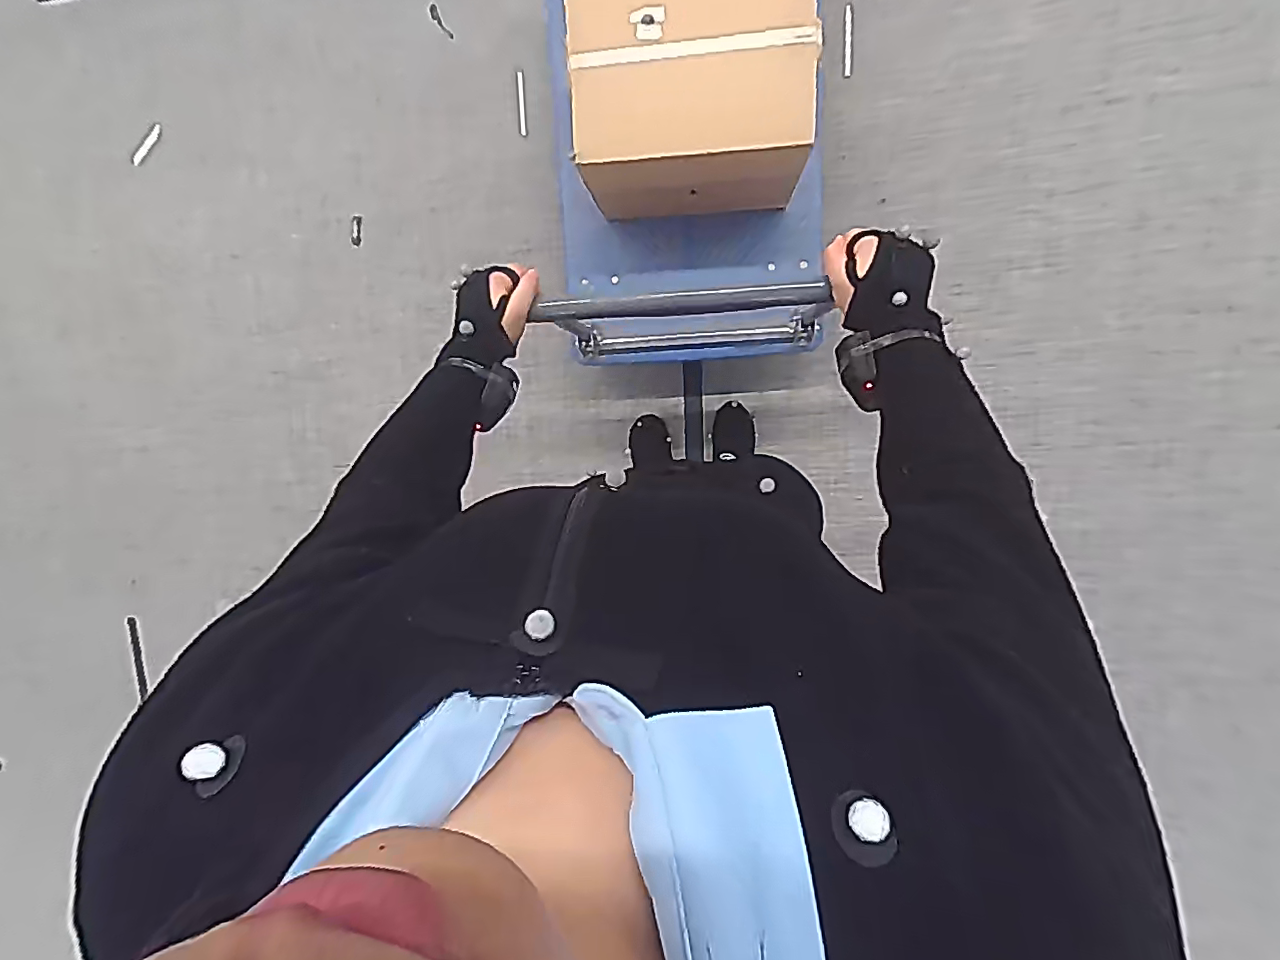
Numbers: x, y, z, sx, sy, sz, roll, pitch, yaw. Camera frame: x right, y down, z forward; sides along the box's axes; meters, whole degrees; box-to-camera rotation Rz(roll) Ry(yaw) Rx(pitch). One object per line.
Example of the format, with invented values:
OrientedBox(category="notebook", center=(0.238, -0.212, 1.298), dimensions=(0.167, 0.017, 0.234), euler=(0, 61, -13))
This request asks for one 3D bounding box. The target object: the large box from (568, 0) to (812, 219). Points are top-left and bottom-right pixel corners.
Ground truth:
OrientedBox(category="large box", center=(0.101, -0.726, 1.044), dimensions=(0.408, 0.320, 0.320), euler=(-1, 98, 8))
